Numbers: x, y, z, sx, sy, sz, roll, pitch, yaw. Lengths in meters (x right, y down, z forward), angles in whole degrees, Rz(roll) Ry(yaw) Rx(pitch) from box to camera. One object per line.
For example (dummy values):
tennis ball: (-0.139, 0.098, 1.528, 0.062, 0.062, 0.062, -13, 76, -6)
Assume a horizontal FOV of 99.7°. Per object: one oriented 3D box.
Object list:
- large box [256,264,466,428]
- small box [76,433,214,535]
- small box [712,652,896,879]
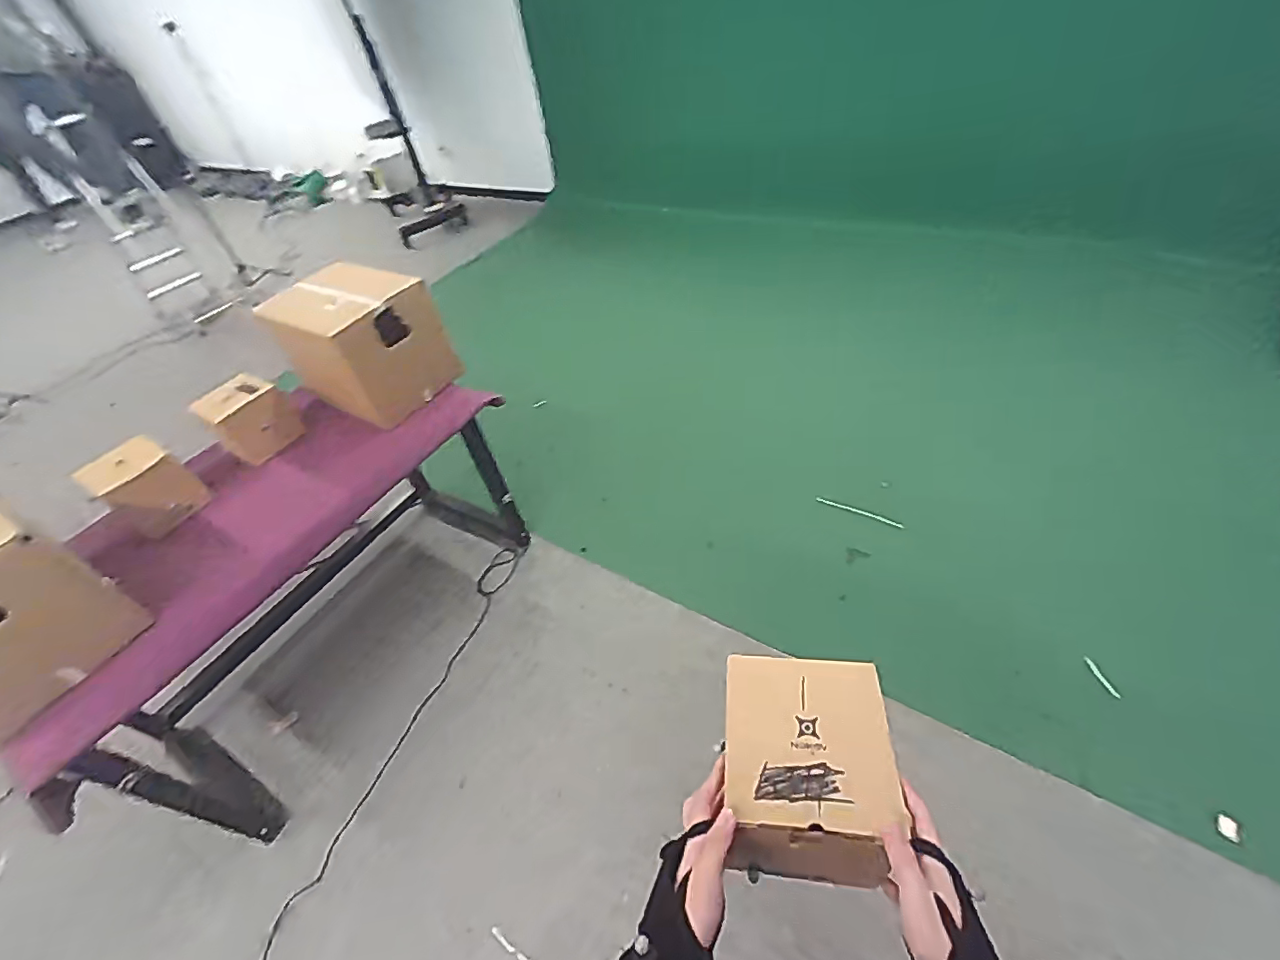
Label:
large box: (-0.806, -0.403, 1.601, 0.408, 0.320, 0.320, 21, 55, 27)
small box: (-1.248, 0.012, 1.373, 0.179, 0.176, 0.168, 20, 54, 27)
small box: (0.168, 0.317, 0.603, 0.168, 0.176, 0.179, 0, 41, 9)
